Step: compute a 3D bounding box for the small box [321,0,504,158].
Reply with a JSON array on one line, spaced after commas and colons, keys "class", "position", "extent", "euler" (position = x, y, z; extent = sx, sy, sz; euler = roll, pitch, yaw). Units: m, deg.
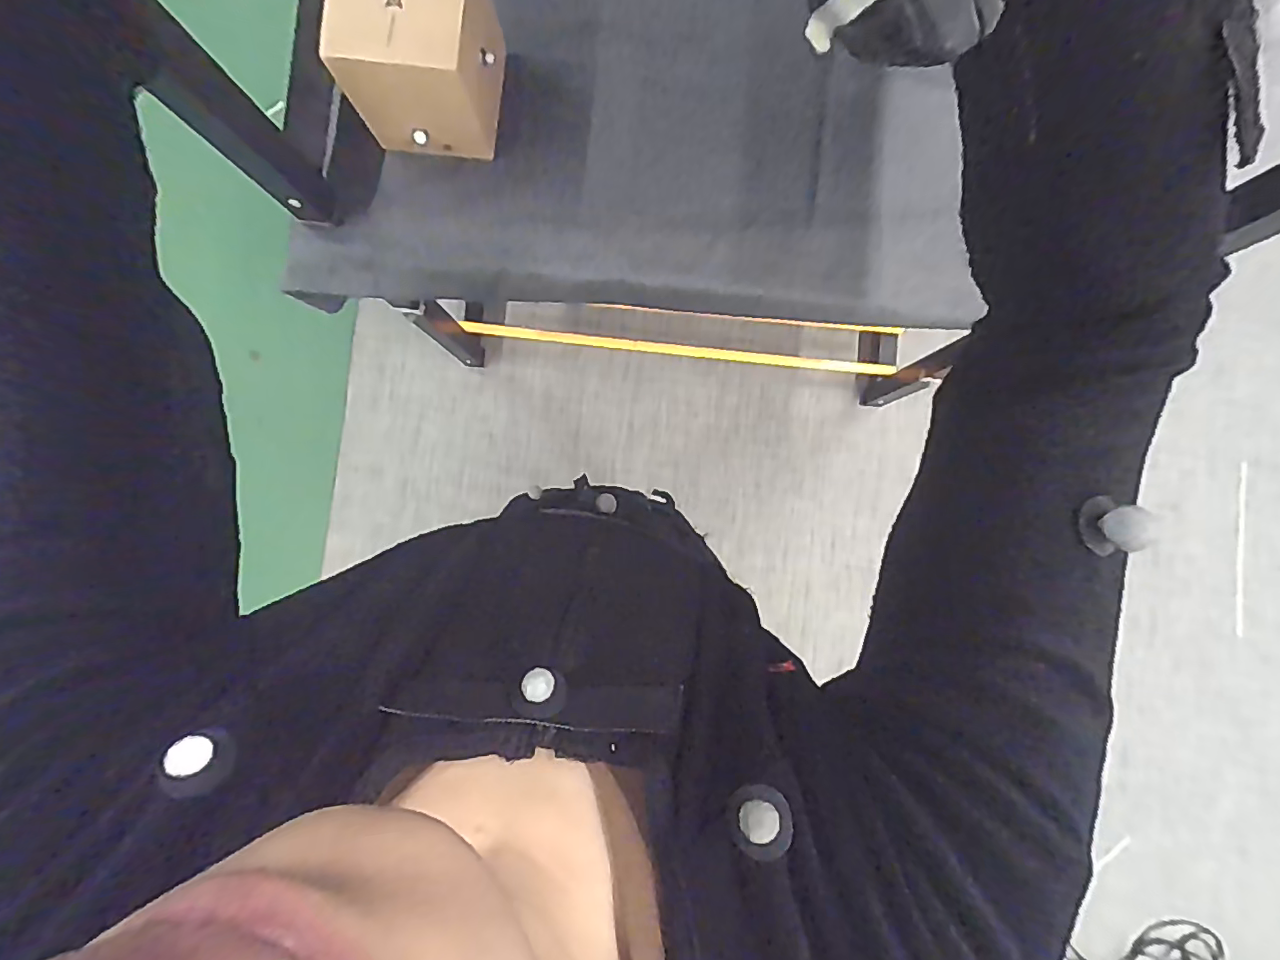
[{"class": "small box", "position": [-0.286, -0.573, 0.719], "extent": [0.168, 0.176, 0.179], "euler": [6, 87, -1]}]
